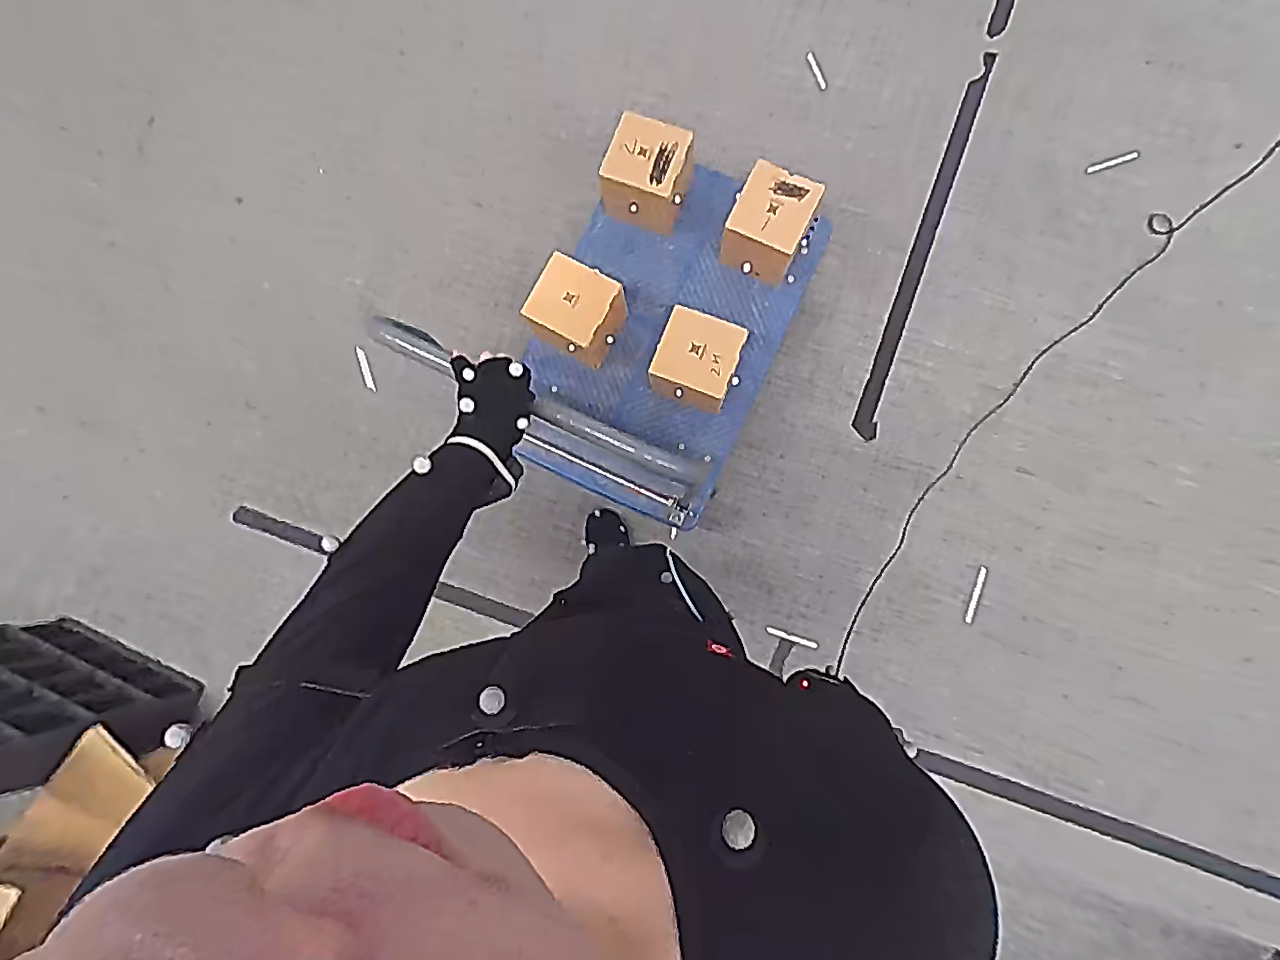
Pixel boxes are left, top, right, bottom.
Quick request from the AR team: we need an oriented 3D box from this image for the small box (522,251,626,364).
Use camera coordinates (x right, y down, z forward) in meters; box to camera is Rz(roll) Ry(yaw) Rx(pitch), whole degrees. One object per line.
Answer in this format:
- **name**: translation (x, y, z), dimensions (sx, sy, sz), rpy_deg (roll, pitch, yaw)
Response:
- **small box**: translation (-0.148, -0.399, 1.286), dimensions (0.179, 0.176, 0.168), rpy_deg (29, 87, 4)

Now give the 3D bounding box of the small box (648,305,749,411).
- **small box**: translation (0.133, -0.273, 1.255), dimensions (0.179, 0.176, 0.168), rpy_deg (22, 87, 6)

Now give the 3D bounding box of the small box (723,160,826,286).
- **small box**: translation (0.306, -0.596, 1.273), dimensions (0.168, 0.176, 0.179), rpy_deg (27, 88, 6)
